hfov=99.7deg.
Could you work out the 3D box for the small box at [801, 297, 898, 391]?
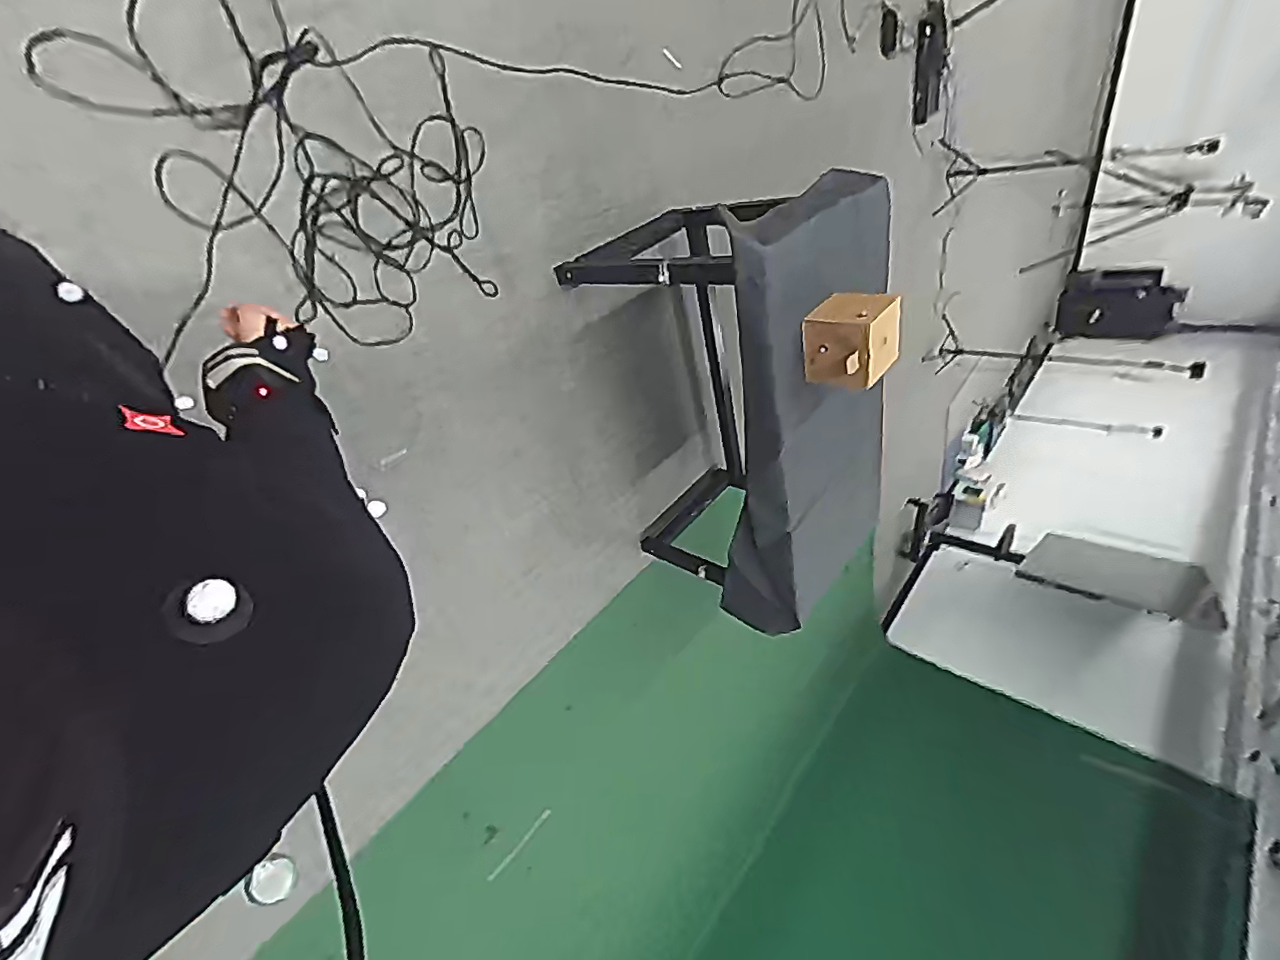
[{"bbox_3d":[0.518,-0.344,1.342,0.179,0.176,0.168,-41,132,-31],"label":"small box"}]
